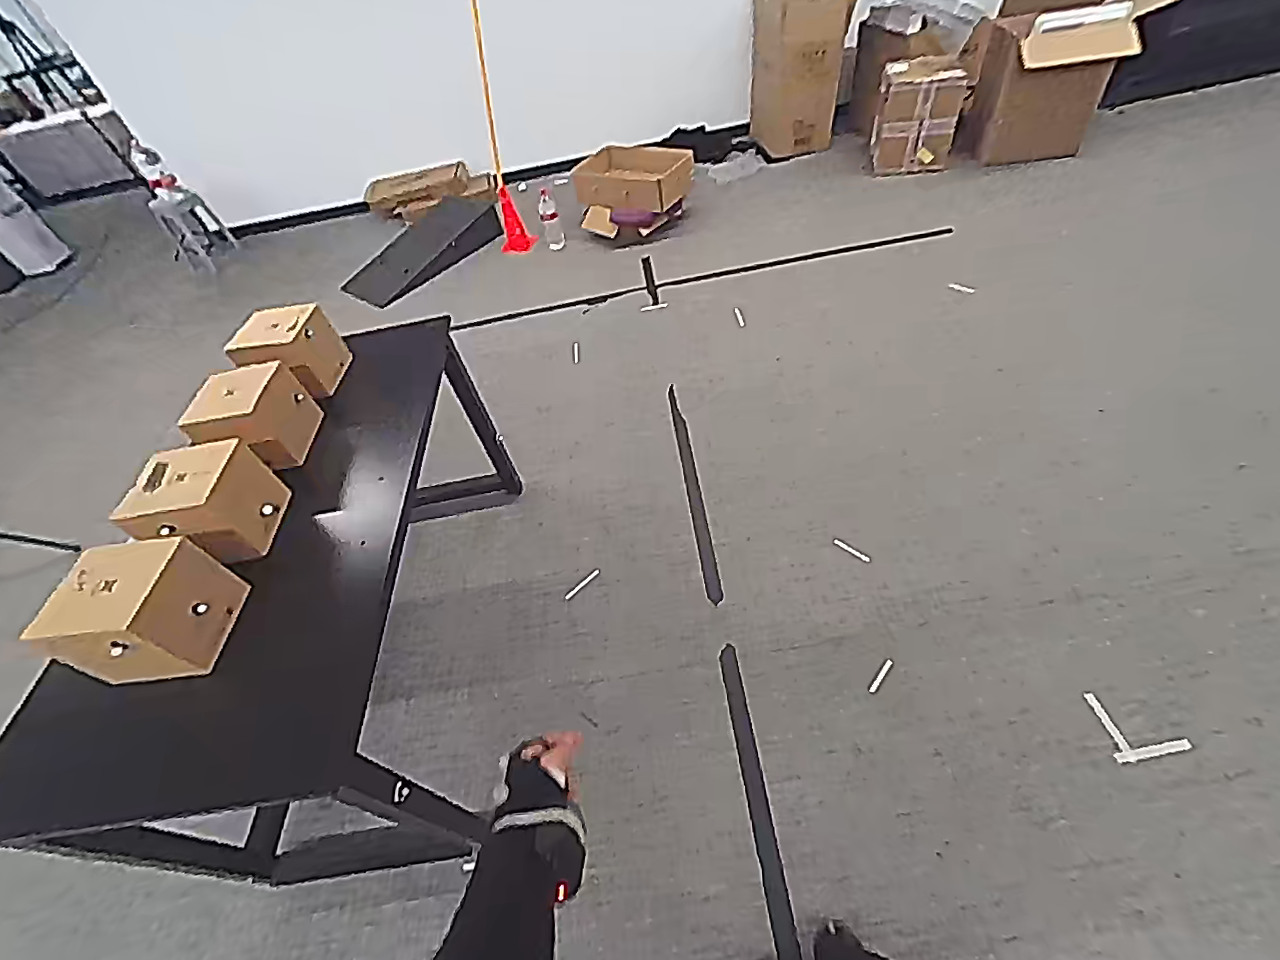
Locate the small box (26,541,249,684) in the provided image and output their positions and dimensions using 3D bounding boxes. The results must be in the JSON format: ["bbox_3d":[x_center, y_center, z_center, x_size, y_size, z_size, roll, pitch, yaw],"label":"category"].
[{"bbox_3d":[-0.808,0.222,0.896,0.179,0.176,0.168,-8,48,5],"label":"small box"}]

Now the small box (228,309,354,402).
[{"bbox_3d":[-0.873,-0.307,1.372,0.179,0.176,0.168,-6,49,7],"label":"small box"}]

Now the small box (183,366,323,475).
[{"bbox_3d":[-0.850,-0.126,1.213,0.168,0.176,0.179,-11,49,3],"label":"small box"}]

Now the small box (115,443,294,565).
[{"bbox_3d":[-0.824,0.055,1.045,0.179,0.176,0.168,-10,48,1],"label":"small box"}]
